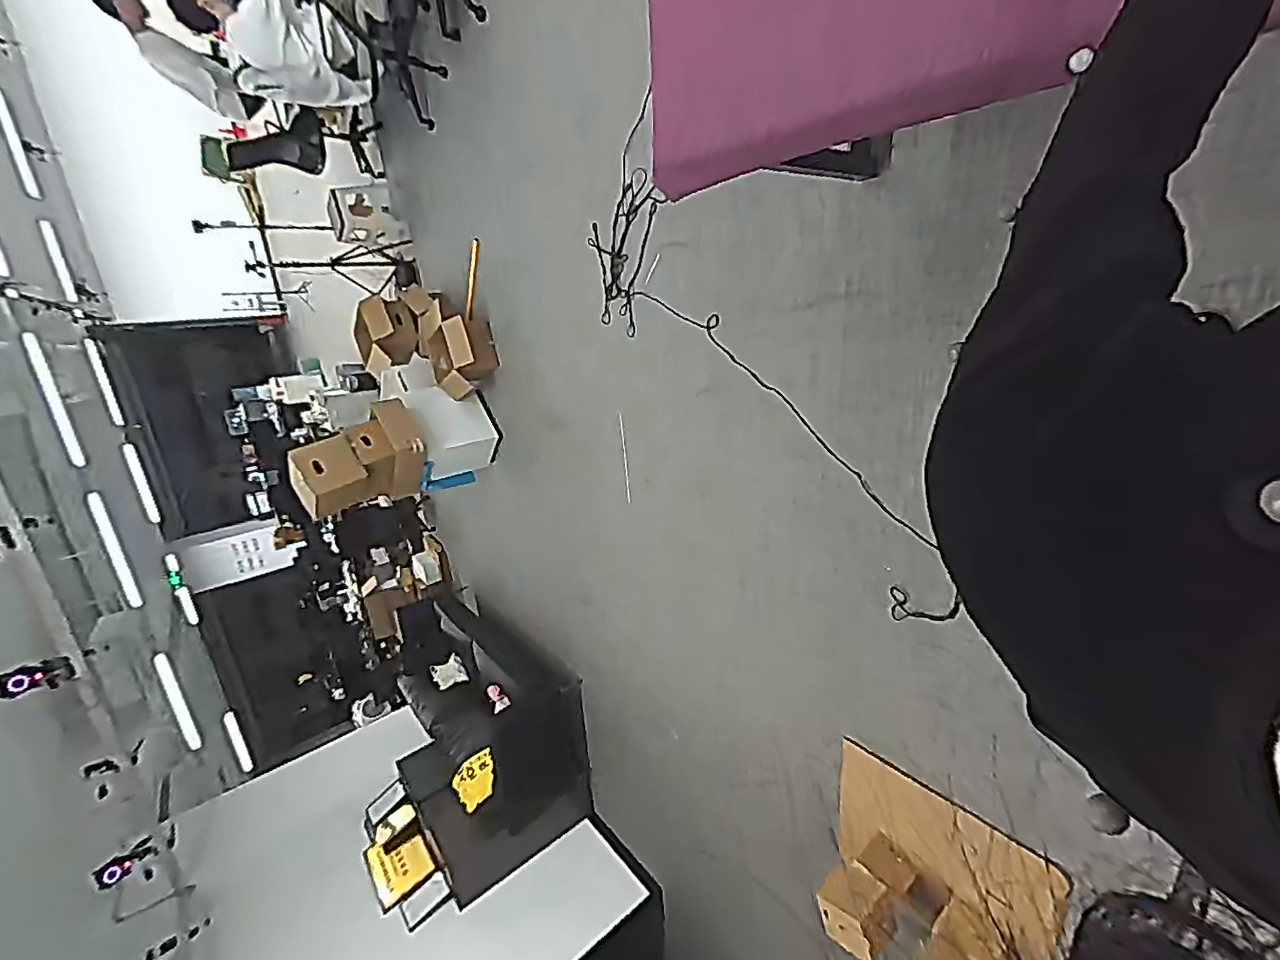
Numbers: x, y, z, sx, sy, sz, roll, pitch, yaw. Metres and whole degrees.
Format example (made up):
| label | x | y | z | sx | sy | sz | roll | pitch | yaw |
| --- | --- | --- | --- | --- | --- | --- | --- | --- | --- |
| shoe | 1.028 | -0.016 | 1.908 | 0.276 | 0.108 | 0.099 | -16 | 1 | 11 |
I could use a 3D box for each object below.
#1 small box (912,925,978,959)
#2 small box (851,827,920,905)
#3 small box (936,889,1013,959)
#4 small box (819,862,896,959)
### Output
| label | x | y | z | sx | sy | sz | roll | pitch | yaw |
| --- | --- | --- | --- | --- | --- | --- | --- | --- | --- |
| small box | 0.929 | 1.505 | 1.623 | 0.179 | 0.176 | 0.168 | 39 | 134 | 39 |
| small box | 0.868 | 1.403 | 1.940 | 0.168 | 0.176 | 0.179 | 38 | 133 | 38 |
| small box | 1.057 | 1.466 | 1.718 | 0.168 | 0.176 | 0.179 | 19 | 120 | 49 |
| small box | 0.748 | 1.456 | 1.841 | 0.179 | 0.176 | 0.168 | -10 | 97 | 54 |
